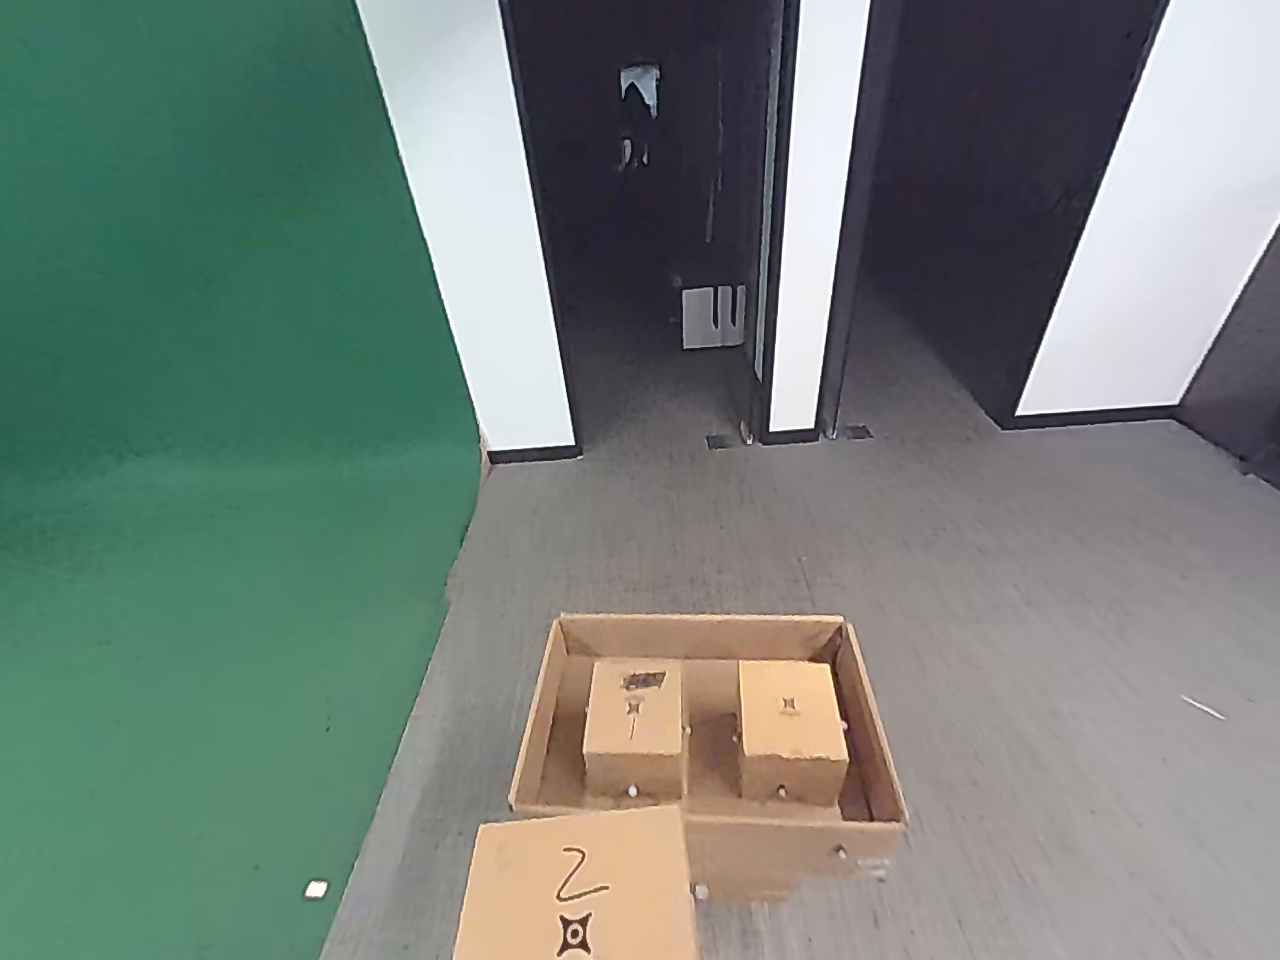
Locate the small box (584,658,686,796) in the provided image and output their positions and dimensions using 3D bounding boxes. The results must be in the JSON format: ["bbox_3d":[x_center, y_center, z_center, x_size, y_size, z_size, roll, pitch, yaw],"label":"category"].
[{"bbox_3d":[-0.002,0.452,0.999,0.168,0.176,0.179,-2,38,5],"label":"small box"}]
